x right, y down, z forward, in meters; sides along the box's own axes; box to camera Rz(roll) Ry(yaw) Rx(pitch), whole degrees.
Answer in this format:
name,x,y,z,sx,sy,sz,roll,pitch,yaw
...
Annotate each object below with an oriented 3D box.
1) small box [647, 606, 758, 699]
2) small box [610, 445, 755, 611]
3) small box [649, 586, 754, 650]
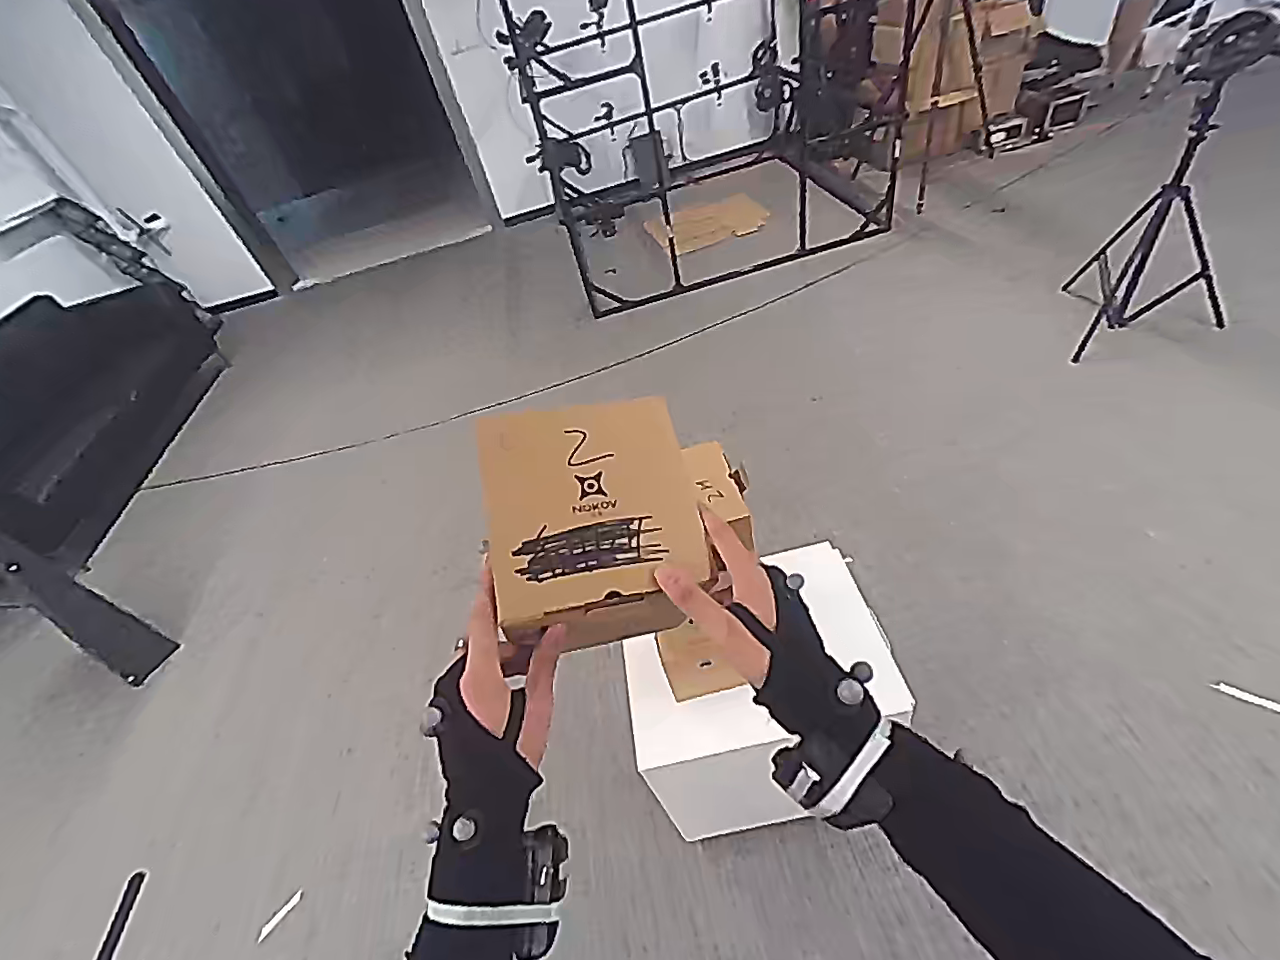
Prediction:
name,x,y,z,sx,sy,sz,roll,pitch,yaw
small box,0.122,0.306,1.062,0.179,0.176,0.168,-15,43,0
small box,0.066,0.078,0.834,0.179,0.176,0.168,-15,43,2
small box,0.097,0.181,0.960,0.168,0.176,0.179,-15,42,2
